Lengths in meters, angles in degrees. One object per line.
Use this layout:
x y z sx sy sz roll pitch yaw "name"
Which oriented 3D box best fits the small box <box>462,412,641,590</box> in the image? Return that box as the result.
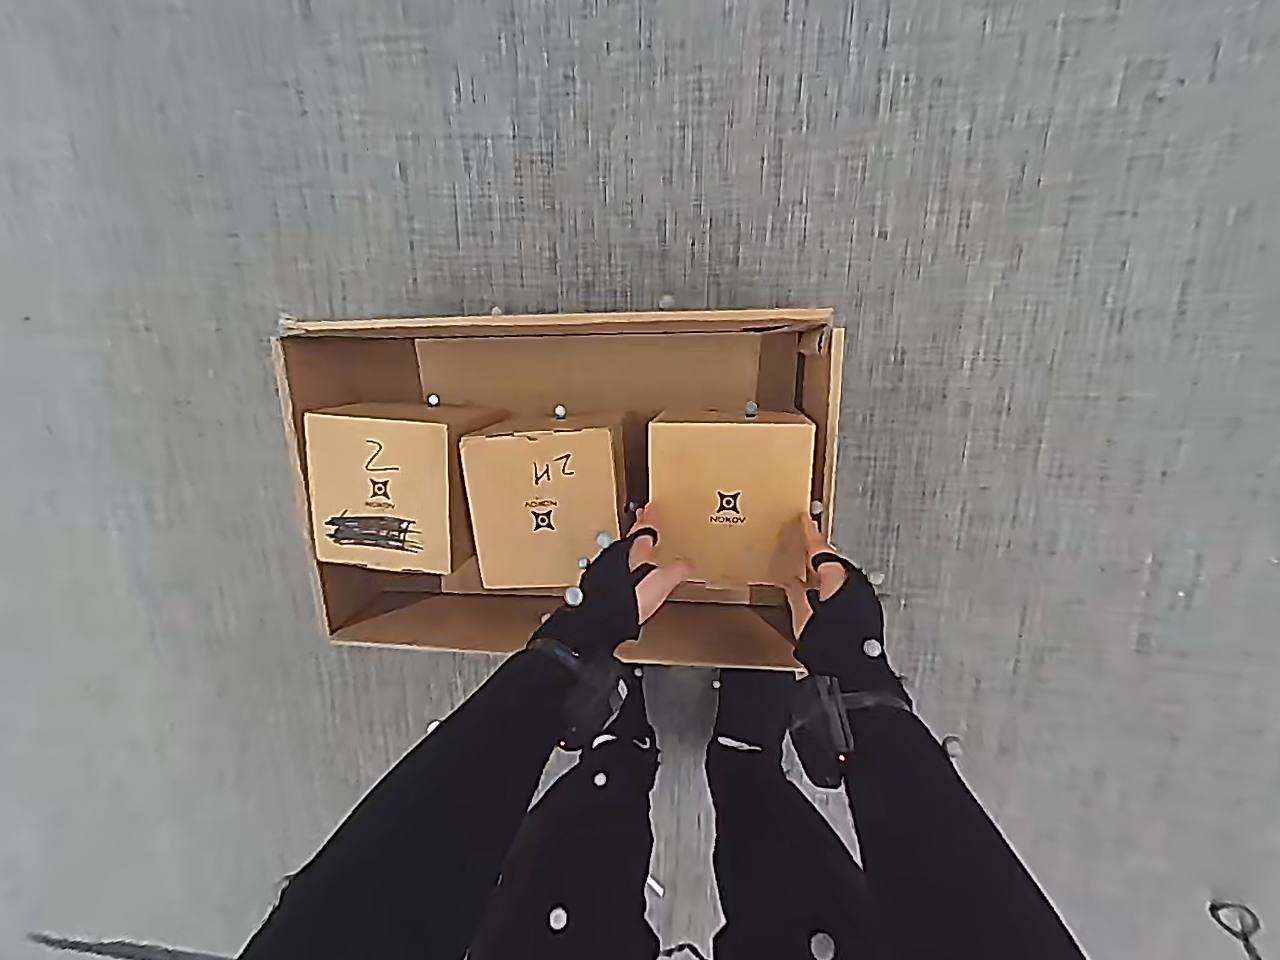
-0.093 0.018 0.659 0.168 0.176 0.179 -4 103 7 "small box"
